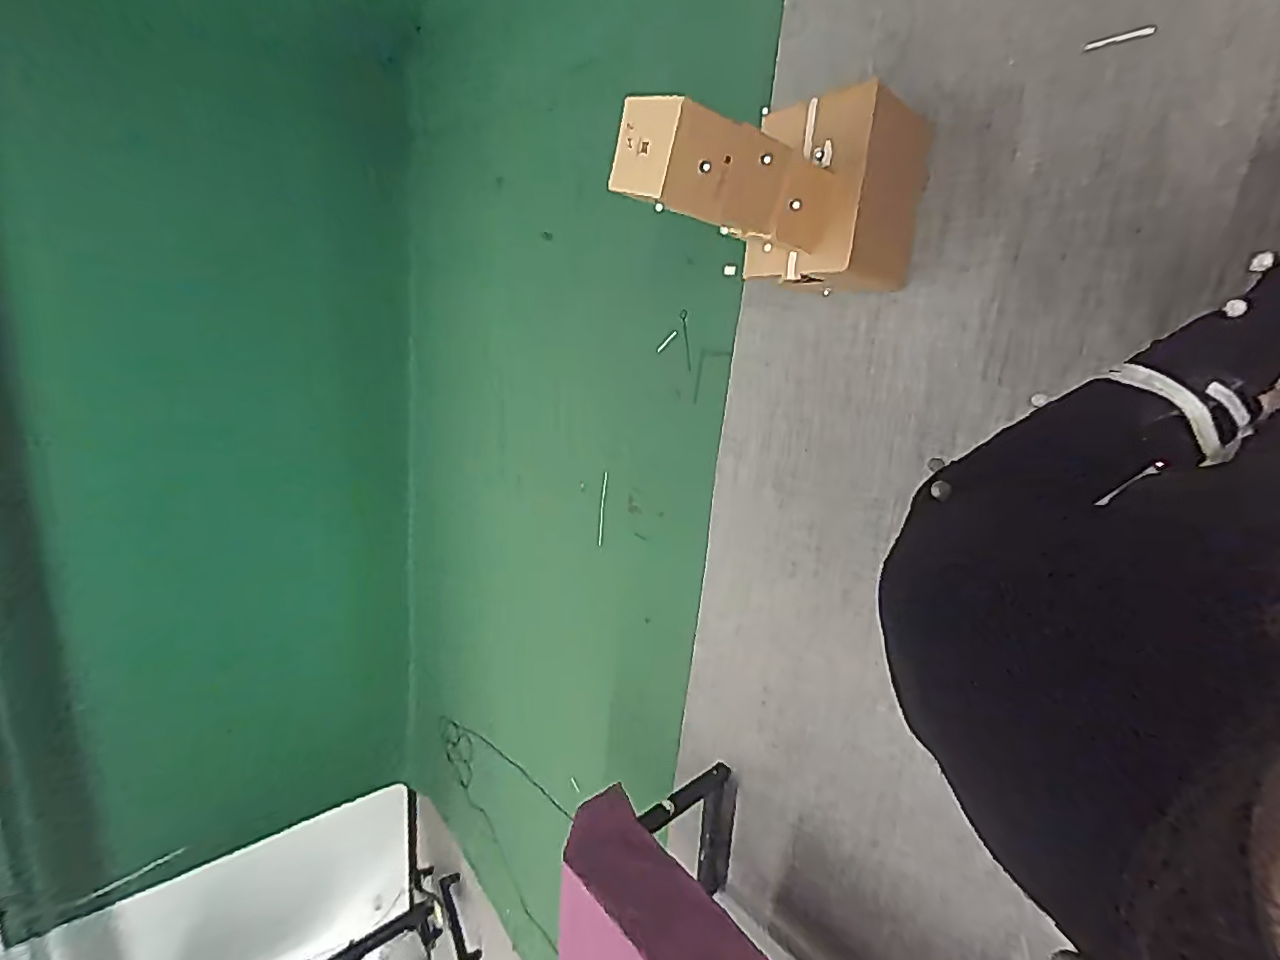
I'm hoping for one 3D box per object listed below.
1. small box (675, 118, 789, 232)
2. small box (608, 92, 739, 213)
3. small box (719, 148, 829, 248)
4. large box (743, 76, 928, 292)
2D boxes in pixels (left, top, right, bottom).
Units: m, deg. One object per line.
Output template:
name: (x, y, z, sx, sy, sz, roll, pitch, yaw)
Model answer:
small box: (0.196, -0.661, 1.176, 0.168, 0.176, 0.179, 37, 122, 41)
small box: (0.066, -0.646, 1.076, 0.179, 0.176, 0.168, 38, 122, 40)
small box: (0.320, -0.666, 1.282, 0.168, 0.176, 0.179, 33, 119, 42)
large box: (0.509, -0.734, 1.426, 0.320, 0.320, 0.408, 18, 108, 46)
